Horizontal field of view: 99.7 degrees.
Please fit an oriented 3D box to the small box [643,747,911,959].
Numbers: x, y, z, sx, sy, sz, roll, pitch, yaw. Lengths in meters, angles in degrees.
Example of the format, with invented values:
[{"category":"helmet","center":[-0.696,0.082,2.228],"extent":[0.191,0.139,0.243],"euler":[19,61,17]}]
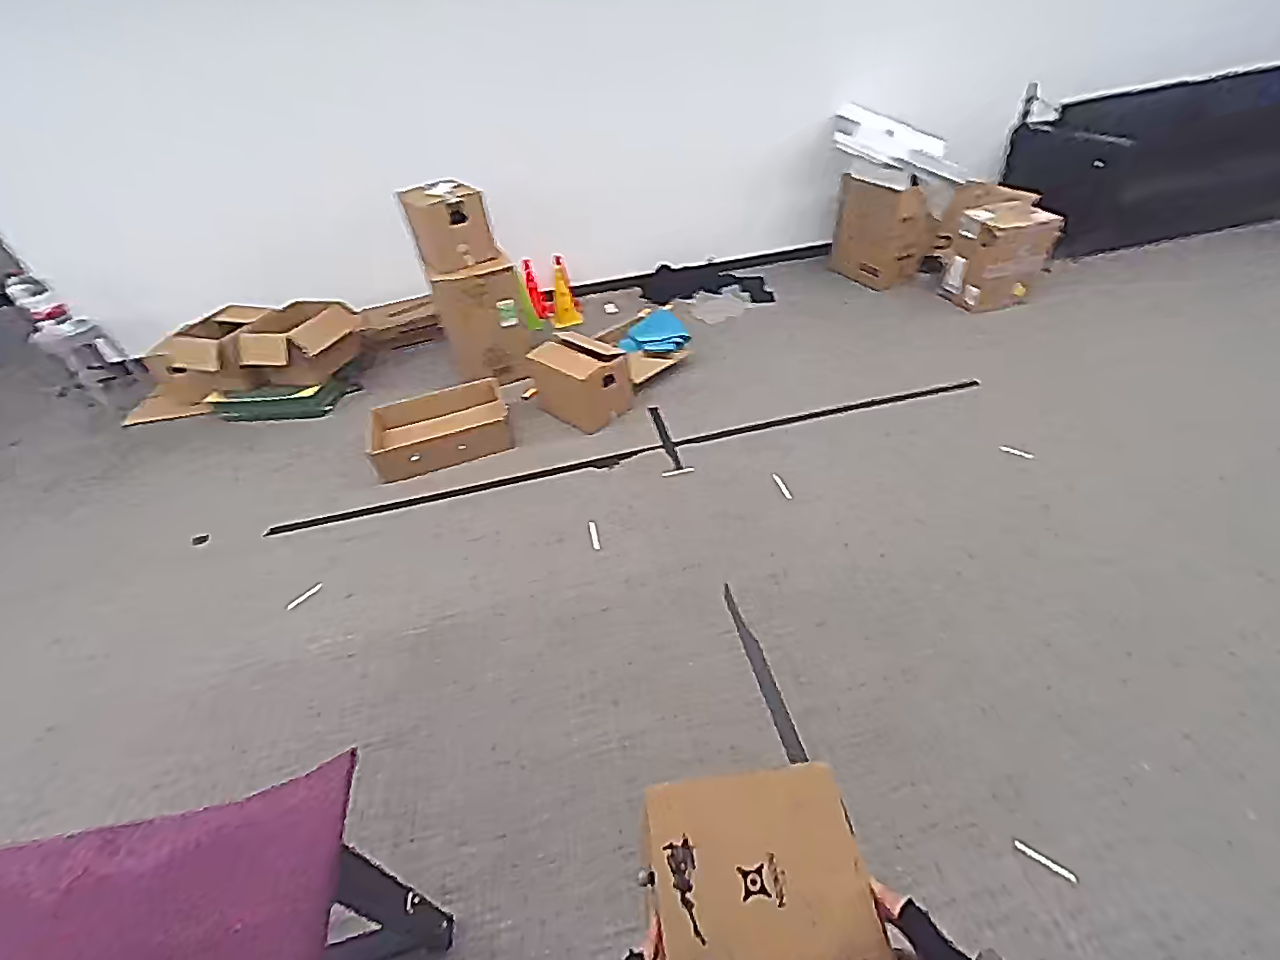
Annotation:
[{"category":"small box","center":[0.102,0.363,0.493],"extent":[0.179,0.176,0.168],"euler":[-3,46,-7]}]
